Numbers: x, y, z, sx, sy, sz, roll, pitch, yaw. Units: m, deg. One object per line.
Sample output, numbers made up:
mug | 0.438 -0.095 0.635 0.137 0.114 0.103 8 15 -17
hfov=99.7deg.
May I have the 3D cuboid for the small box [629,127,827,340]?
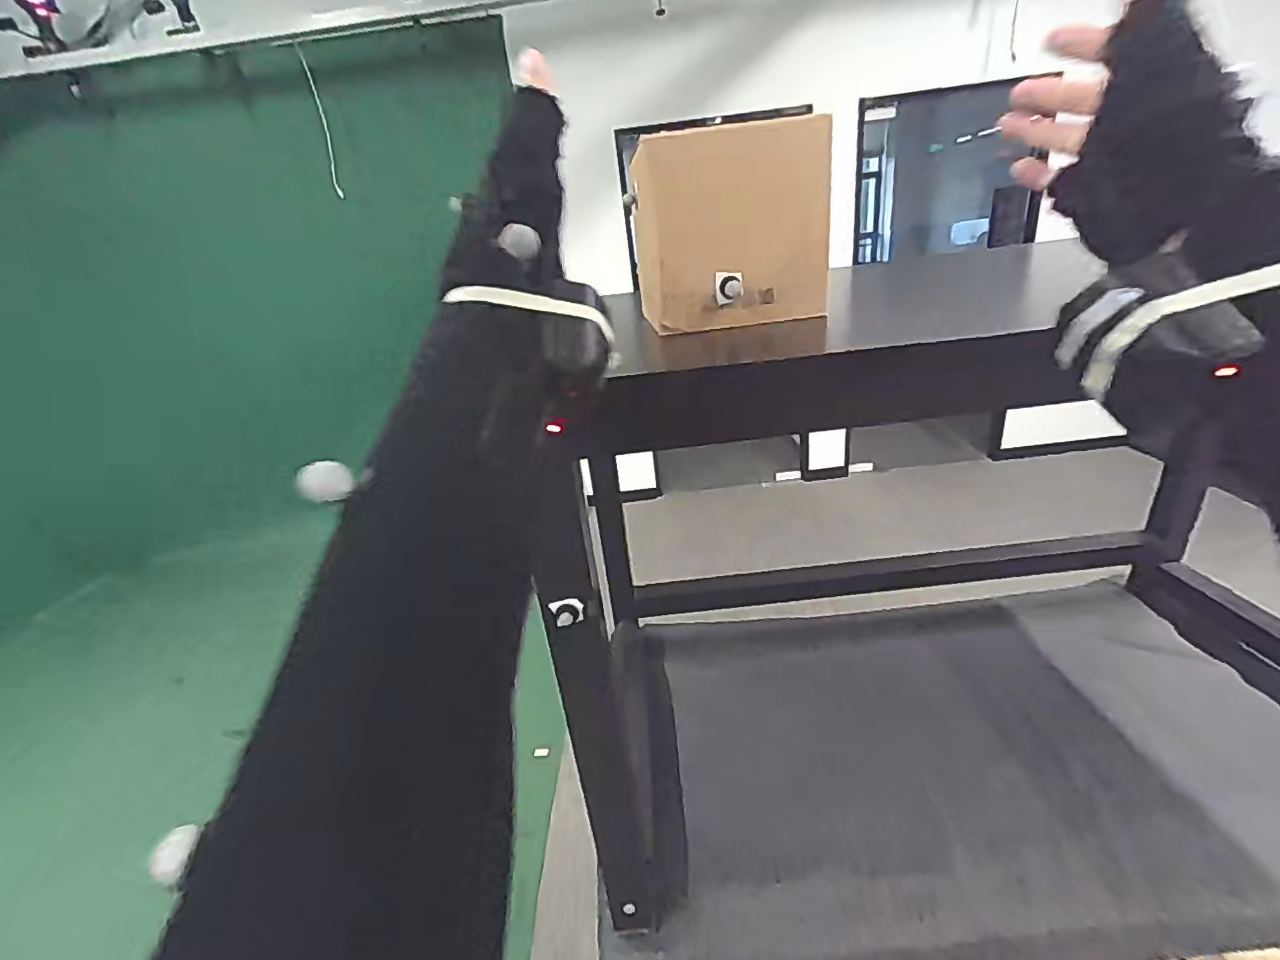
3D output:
small box | 0.082 -0.249 0.569 0.168 0.176 0.179 -9 24 -2
